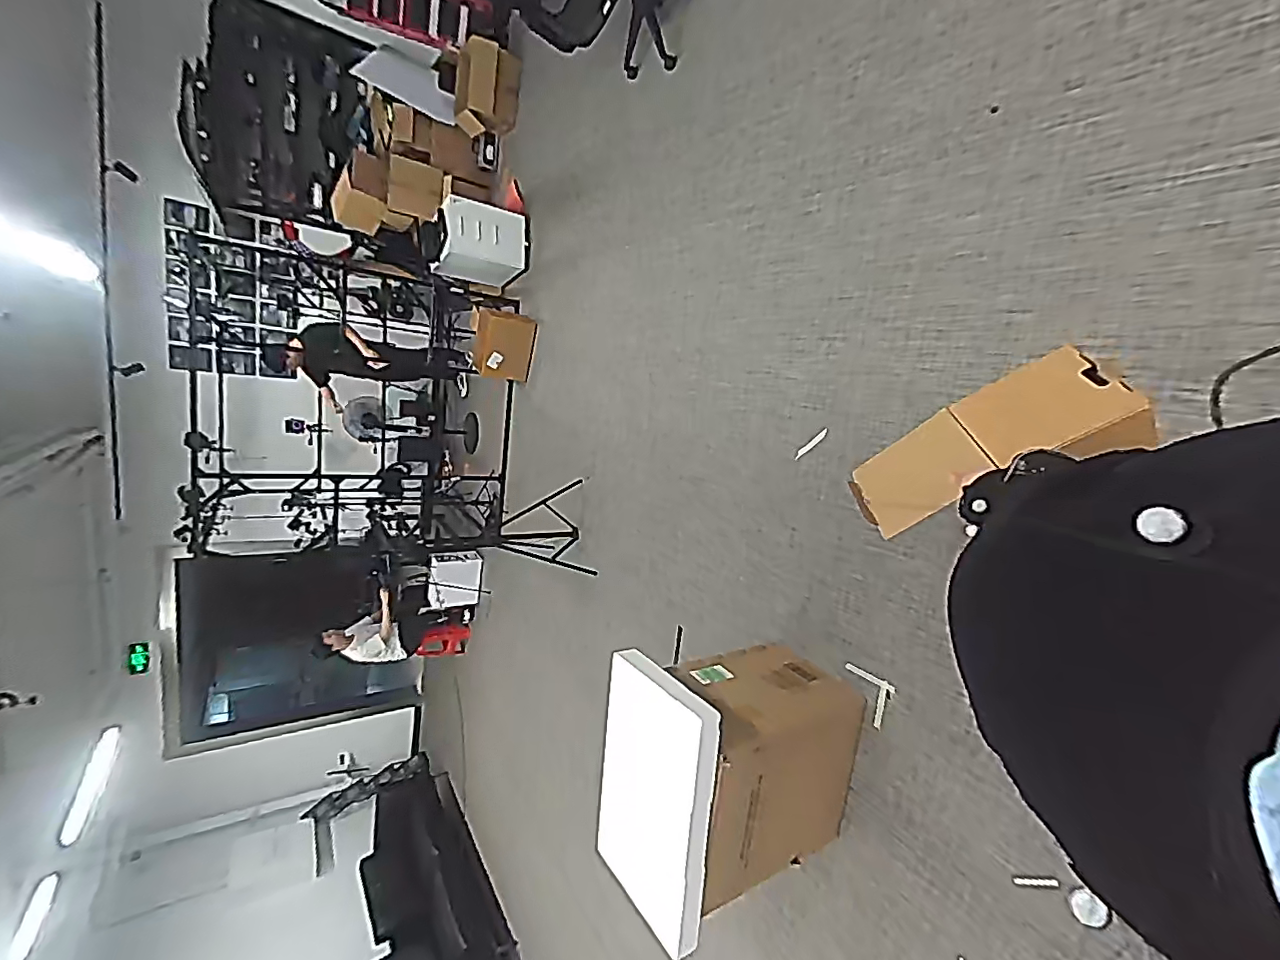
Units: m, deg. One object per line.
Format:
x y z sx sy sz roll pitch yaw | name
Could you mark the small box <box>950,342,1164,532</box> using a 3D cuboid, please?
0.591 -0.055 0.775 0.179 0.176 0.168 -31 33 23 | small box
